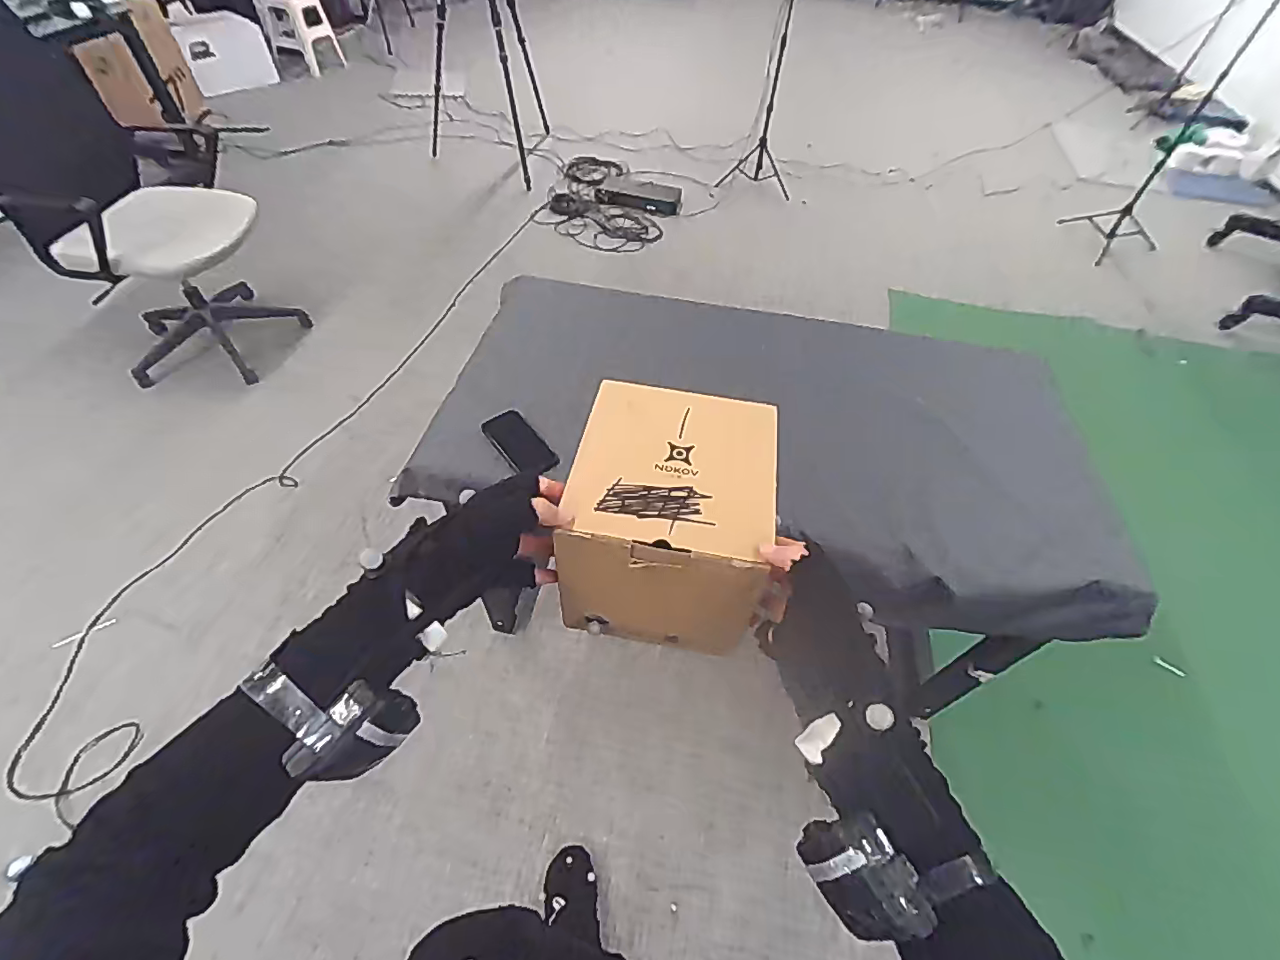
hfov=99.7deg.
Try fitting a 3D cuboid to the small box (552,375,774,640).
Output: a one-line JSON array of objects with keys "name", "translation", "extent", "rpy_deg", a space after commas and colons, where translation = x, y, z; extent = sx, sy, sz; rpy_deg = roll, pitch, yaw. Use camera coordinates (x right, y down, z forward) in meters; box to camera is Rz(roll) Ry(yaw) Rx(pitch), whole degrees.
[{"name": "small box", "translation": [0.025, 0.030, 0.512], "extent": [0.168, 0.176, 0.179], "rpy_deg": [10, 50, 4]}]
